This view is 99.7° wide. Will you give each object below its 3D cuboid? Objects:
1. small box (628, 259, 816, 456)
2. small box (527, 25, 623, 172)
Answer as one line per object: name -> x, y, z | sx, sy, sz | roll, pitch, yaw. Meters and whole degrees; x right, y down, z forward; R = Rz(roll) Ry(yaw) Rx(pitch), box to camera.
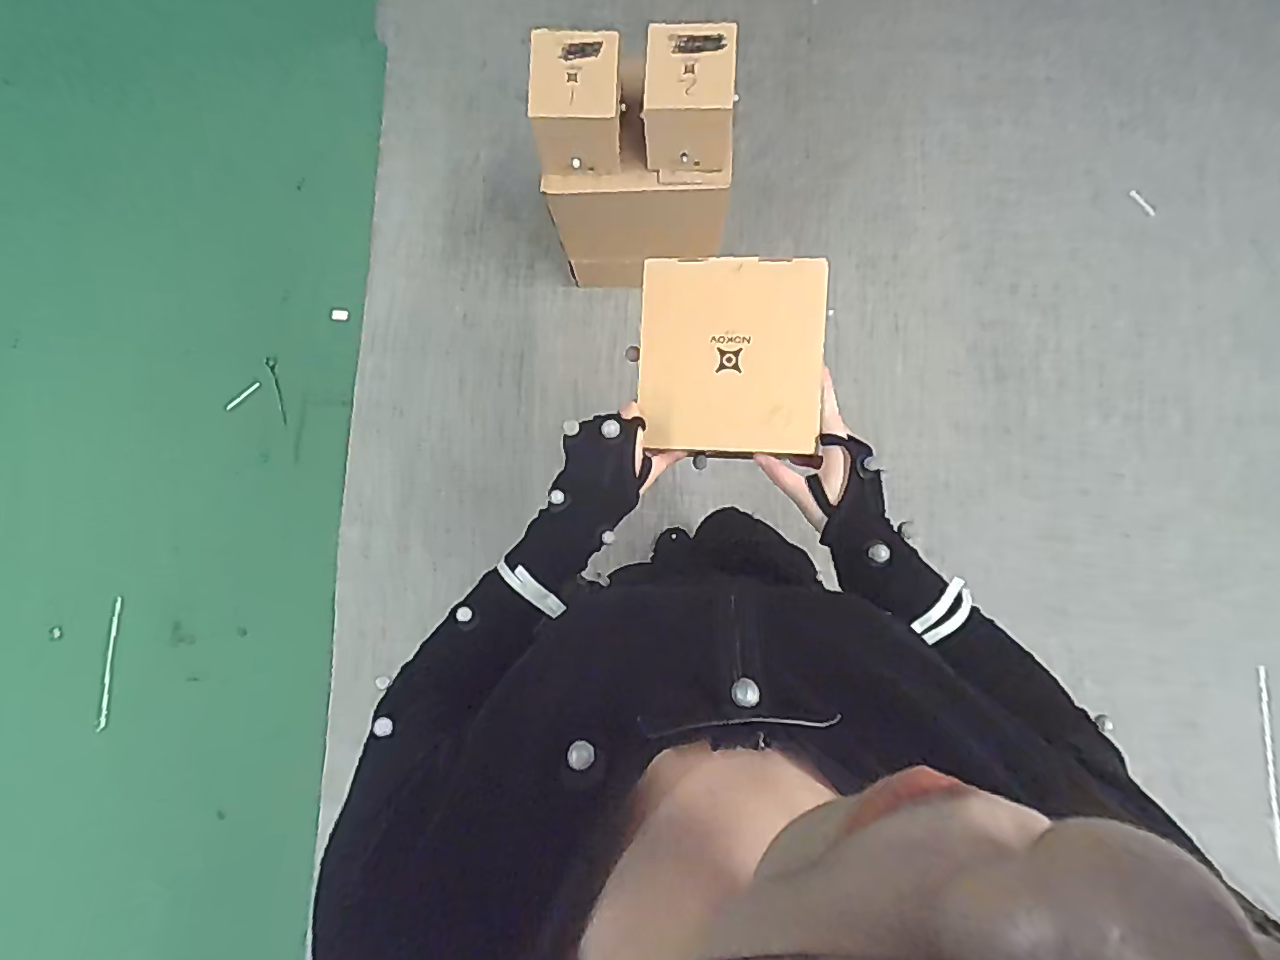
small box -> 0.084, -0.117, 0.578 | 0.168, 0.176, 0.179 | 3, 90, 7
small box -> -0.123, -0.757, 1.084 | 0.168, 0.176, 0.179 | 2, 87, 2
